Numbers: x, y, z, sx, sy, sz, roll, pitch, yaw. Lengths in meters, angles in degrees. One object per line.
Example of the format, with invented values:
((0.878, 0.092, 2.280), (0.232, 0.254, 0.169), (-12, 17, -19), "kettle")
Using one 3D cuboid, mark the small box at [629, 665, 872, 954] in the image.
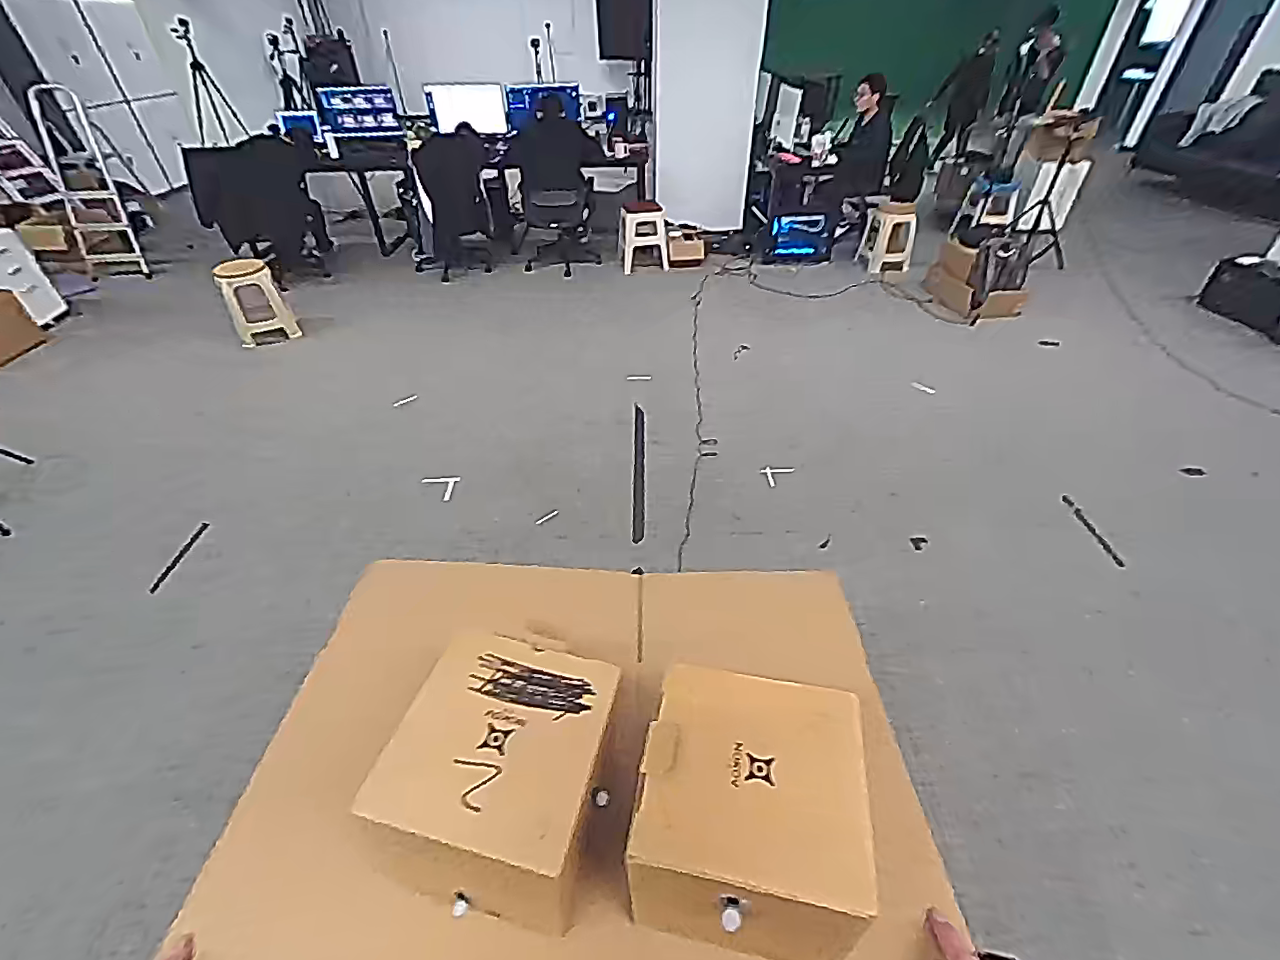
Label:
((0.096, 0.300, 0.497), (0.179, 0.176, 0.168), (5, 39, 11), "small box")
